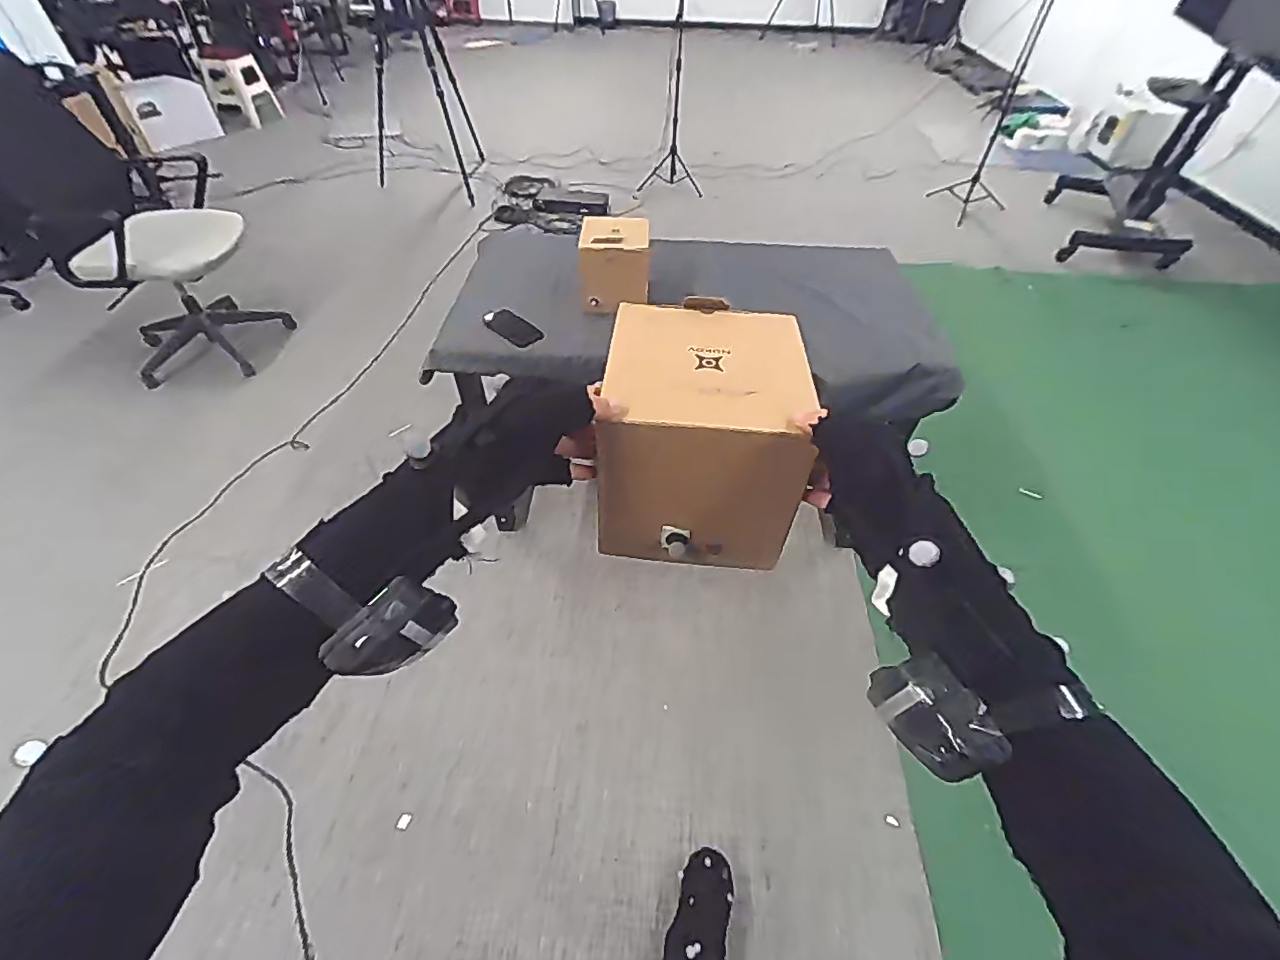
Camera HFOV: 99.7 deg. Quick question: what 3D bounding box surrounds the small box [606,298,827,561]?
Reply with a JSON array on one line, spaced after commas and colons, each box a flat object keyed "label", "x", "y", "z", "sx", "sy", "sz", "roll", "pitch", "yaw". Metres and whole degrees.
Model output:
[{"label": "small box", "x": 0.057, "y": -0.047, "z": 0.508, "sx": 0.168, "sy": 0.176, "sz": 0.179, "roll": 3, "pitch": 47, "yaw": 1}]

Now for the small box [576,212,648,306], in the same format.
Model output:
[{"label": "small box", "x": -0.065, "y": -0.552, "z": 1.357, "sx": 0.168, "sy": 0.176, "sz": 0.179, "roll": 2, "pitch": 47, "yaw": -1}]
